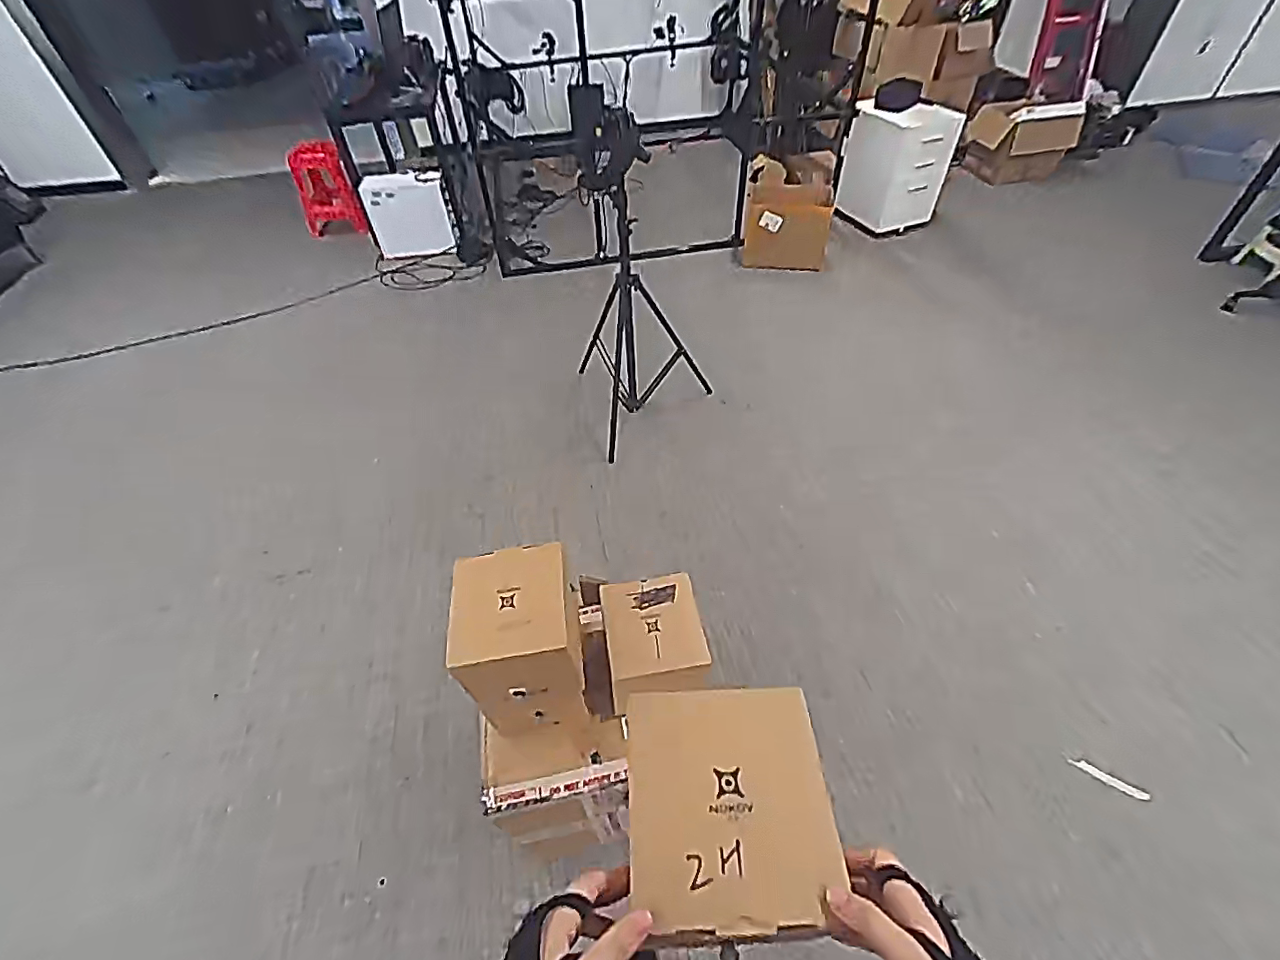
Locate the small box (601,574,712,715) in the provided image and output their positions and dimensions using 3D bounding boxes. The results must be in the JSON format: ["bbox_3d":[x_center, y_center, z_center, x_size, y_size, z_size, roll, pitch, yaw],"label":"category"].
[{"bbox_3d":[0.023,0.297,0.976,0.168,0.176,0.179,-8,49,-6],"label":"small box"}]

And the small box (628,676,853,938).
[{"bbox_3d":[0.071,0.303,0.504,0.168,0.176,0.179,-2,46,-1],"label":"small box"}]

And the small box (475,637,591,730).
[{"bbox_3d":[-0.184,0.327,0.958,0.168,0.176,0.179,-9,50,-3],"label":"small box"}]

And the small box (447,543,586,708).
[{"bbox_3d":[-0.181,0.224,0.830,0.168,0.176,0.179,-10,50,-3],"label":"small box"}]
